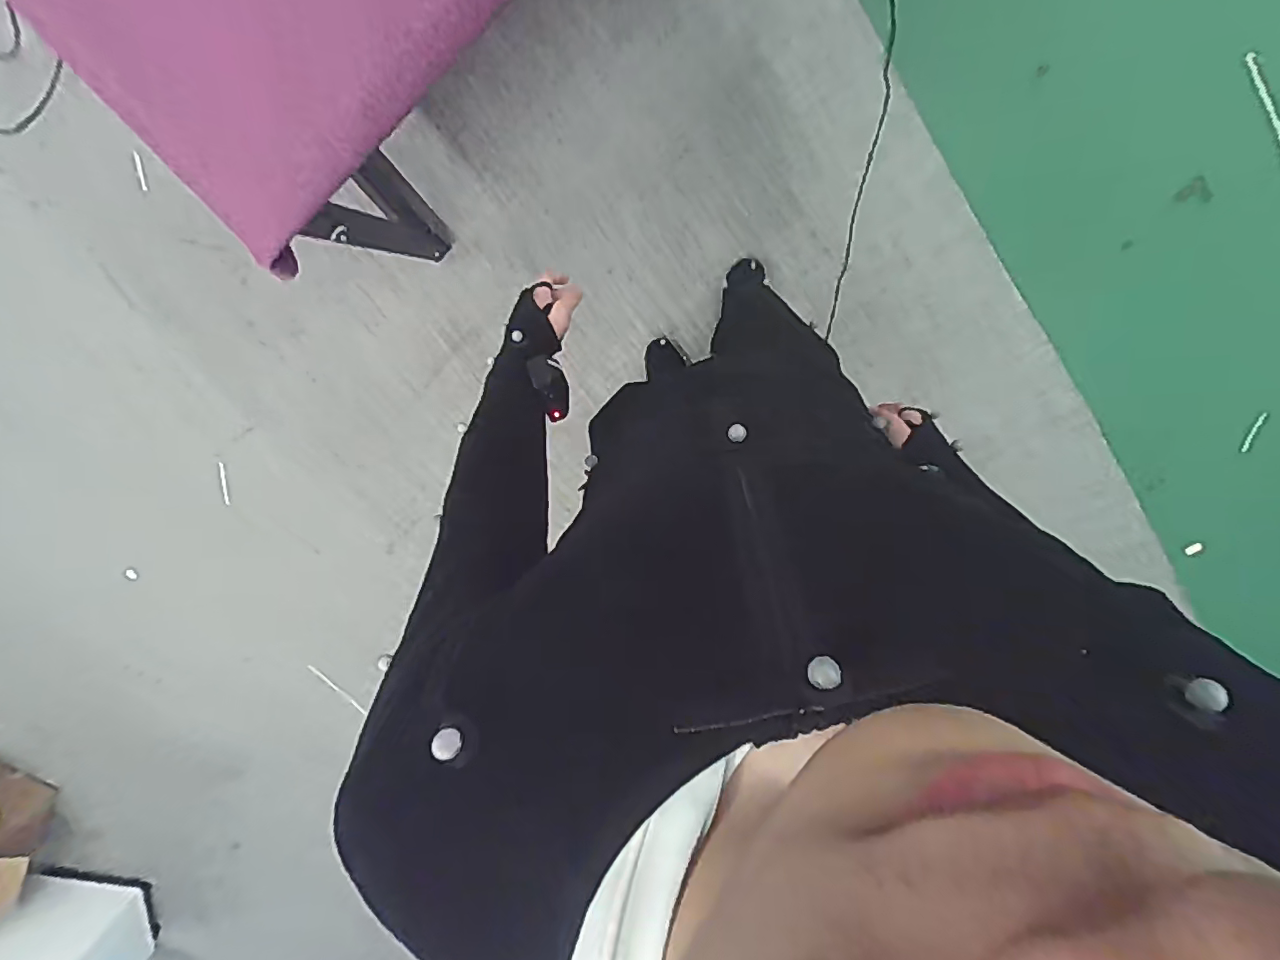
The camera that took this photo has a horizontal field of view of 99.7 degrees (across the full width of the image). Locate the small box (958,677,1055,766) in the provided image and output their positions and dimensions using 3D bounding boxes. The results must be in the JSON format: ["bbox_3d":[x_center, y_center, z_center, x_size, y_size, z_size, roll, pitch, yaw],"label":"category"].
[{"bbox_3d":[1.191,0.783,1.767,0.179,0.176,0.168,-32,104,13],"label":"small box"}]
